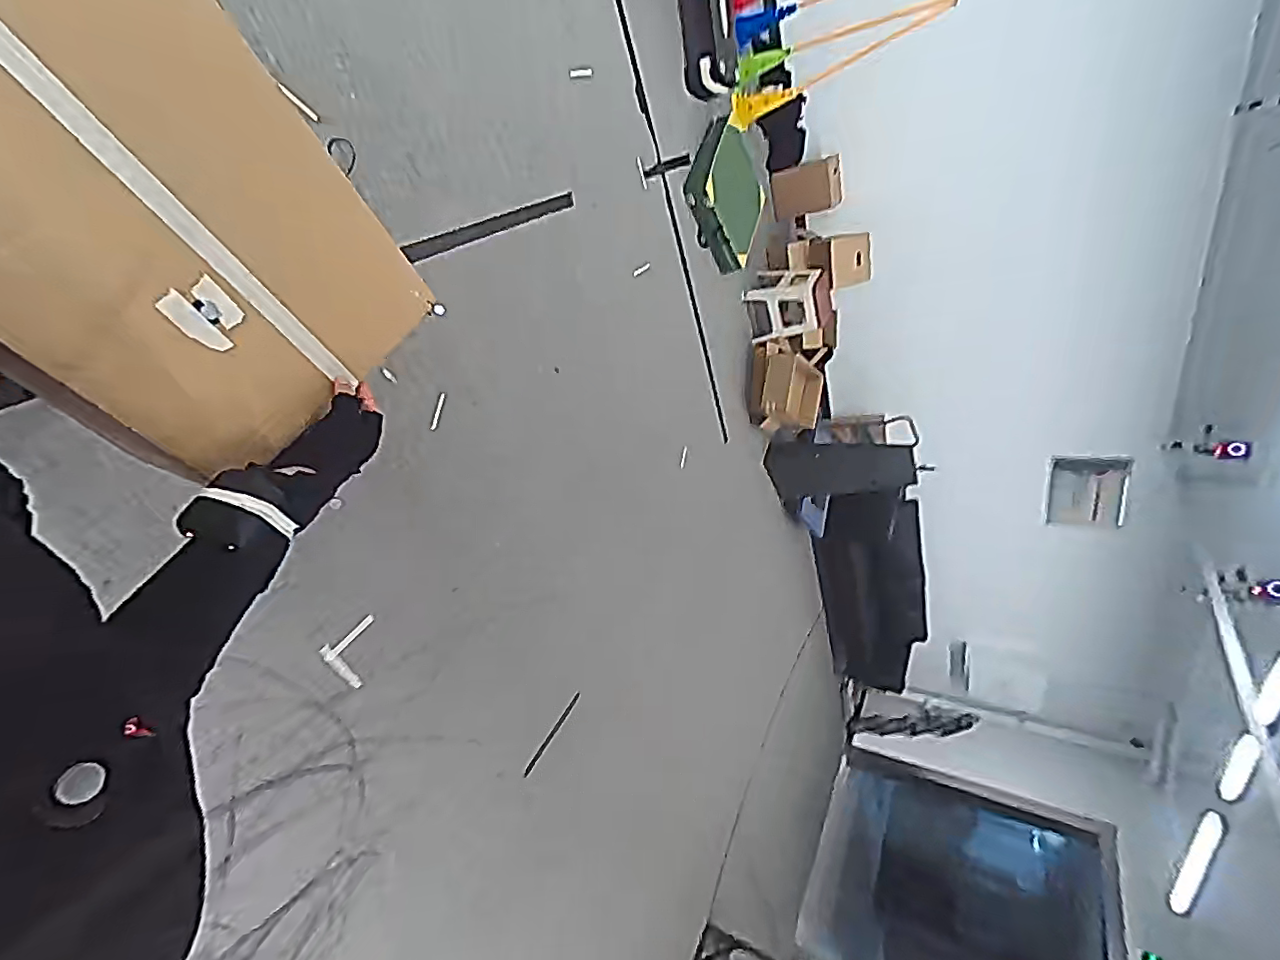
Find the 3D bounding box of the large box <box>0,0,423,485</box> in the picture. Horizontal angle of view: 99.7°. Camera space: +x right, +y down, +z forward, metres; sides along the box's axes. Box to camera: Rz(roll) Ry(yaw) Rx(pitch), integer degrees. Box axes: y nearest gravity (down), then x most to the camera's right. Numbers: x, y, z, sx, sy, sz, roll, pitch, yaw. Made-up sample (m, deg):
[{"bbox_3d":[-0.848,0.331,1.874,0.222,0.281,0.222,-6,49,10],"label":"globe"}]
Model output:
[{"bbox_3d":[-0.527,-0.252,0.543,0.320,0.320,0.408,-59,142,-26],"label":"large box"}]
